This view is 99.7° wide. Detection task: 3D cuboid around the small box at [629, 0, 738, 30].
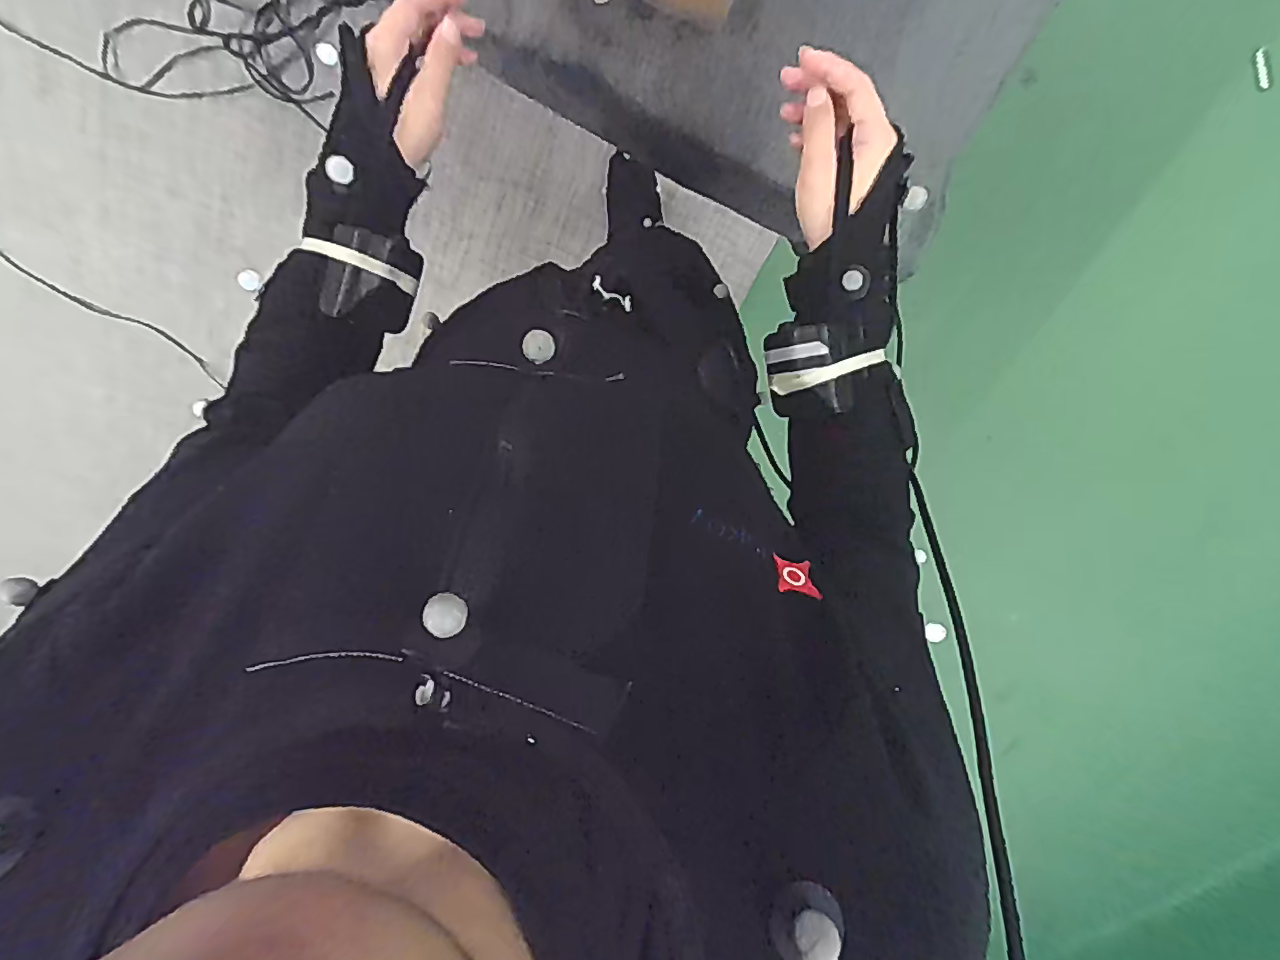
[{"bbox_3d":[0.014,-0.416,0.318,0.168,0.176,0.179,16,118,-7],"label":"small box"}]
